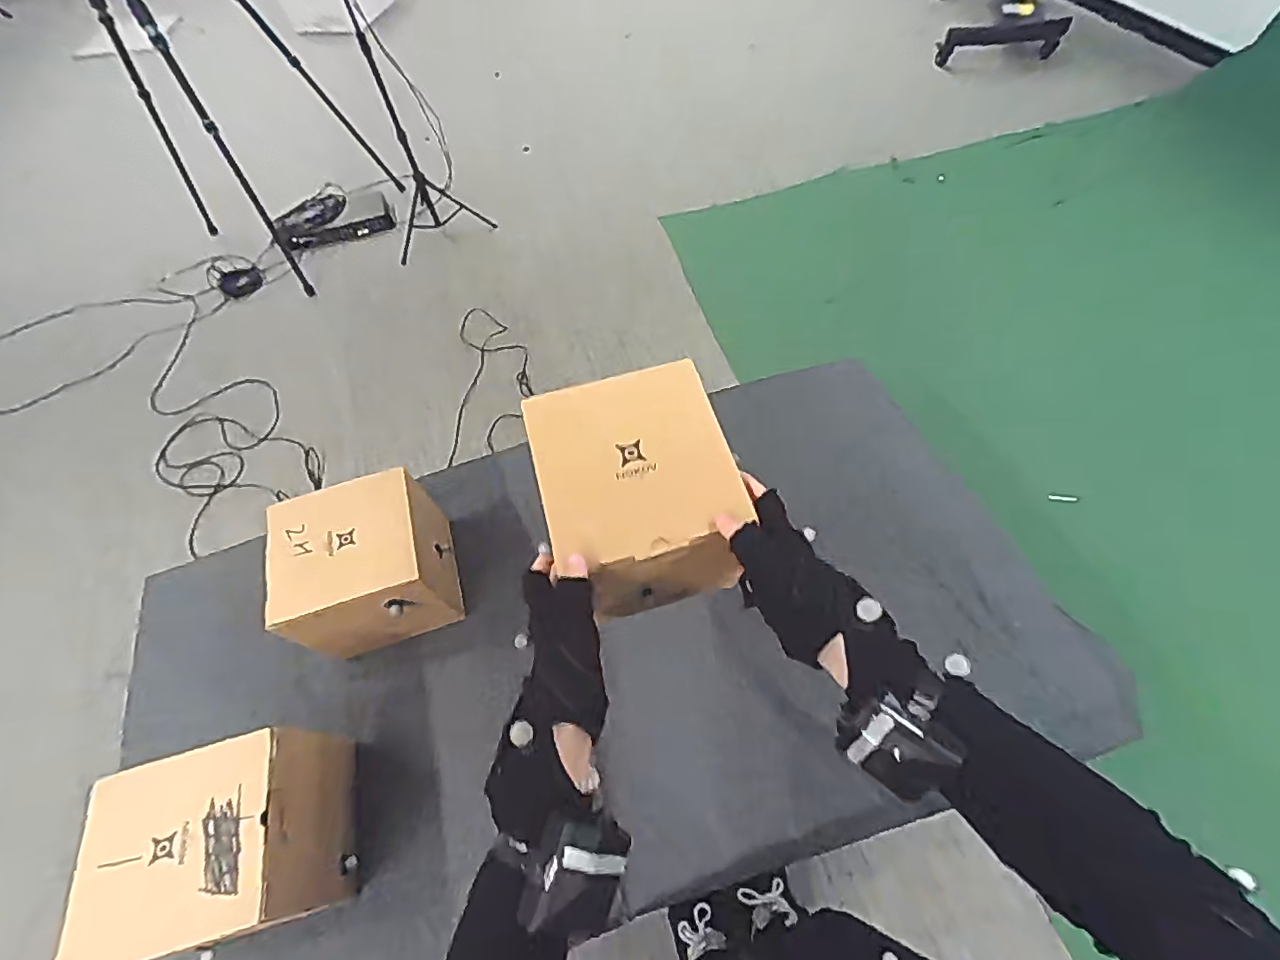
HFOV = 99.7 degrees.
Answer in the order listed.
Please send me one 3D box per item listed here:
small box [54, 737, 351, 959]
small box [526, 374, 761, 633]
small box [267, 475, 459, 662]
[{"bbox_3d":[-0.426,0.385,0.564,0.179,0.176,0.168,-15,58,-5],"label":"small box"},{"bbox_3d":[-0.003,0.030,0.528,0.168,0.176,0.179,-15,64,-6],"label":"small box"},{"bbox_3d":[-0.355,0.122,0.720,0.179,0.176,0.168,-17,59,-7],"label":"small box"}]
